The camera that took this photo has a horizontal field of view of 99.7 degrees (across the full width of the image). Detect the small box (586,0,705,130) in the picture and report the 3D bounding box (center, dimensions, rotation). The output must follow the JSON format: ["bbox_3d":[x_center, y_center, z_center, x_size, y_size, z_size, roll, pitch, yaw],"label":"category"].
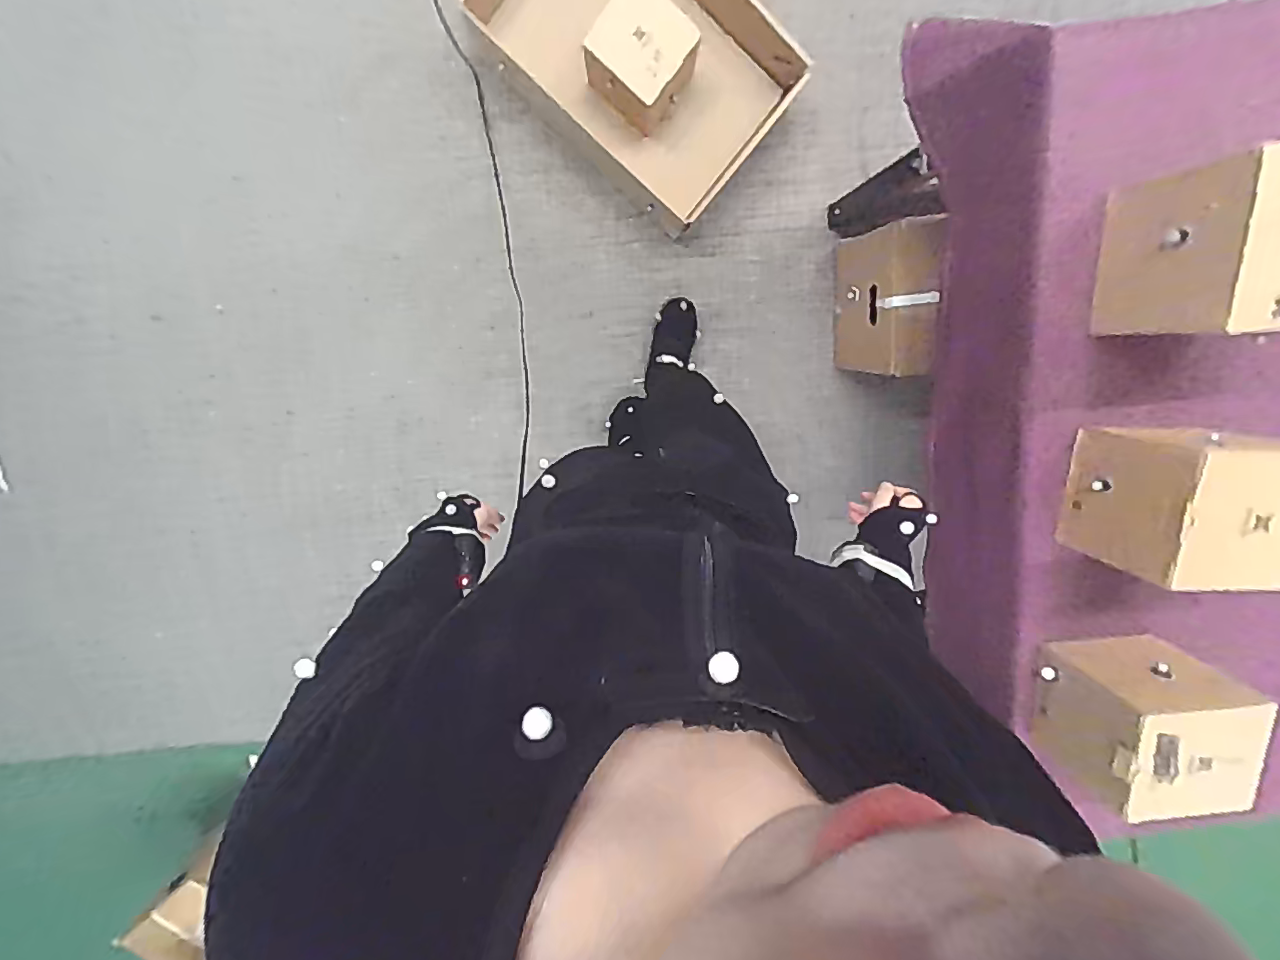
[{"bbox_3d":[0.009,-0.878,1.126,0.179,0.176,0.168,39,101,-10],"label":"small box"}]

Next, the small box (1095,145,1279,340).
[{"bbox_3d":[0.667,-0.255,0.610,0.168,0.176,0.179,-4,104,-1],"label":"small box"}]

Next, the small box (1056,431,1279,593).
[{"bbox_3d":[0.691,0.032,0.688,0.179,0.176,0.168,1,104,-2],"label":"small box"}]

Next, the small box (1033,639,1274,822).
[{"bbox_3d":[0.703,0.343,0.765,0.179,0.176,0.168,-4,104,-2],"label":"small box"}]
